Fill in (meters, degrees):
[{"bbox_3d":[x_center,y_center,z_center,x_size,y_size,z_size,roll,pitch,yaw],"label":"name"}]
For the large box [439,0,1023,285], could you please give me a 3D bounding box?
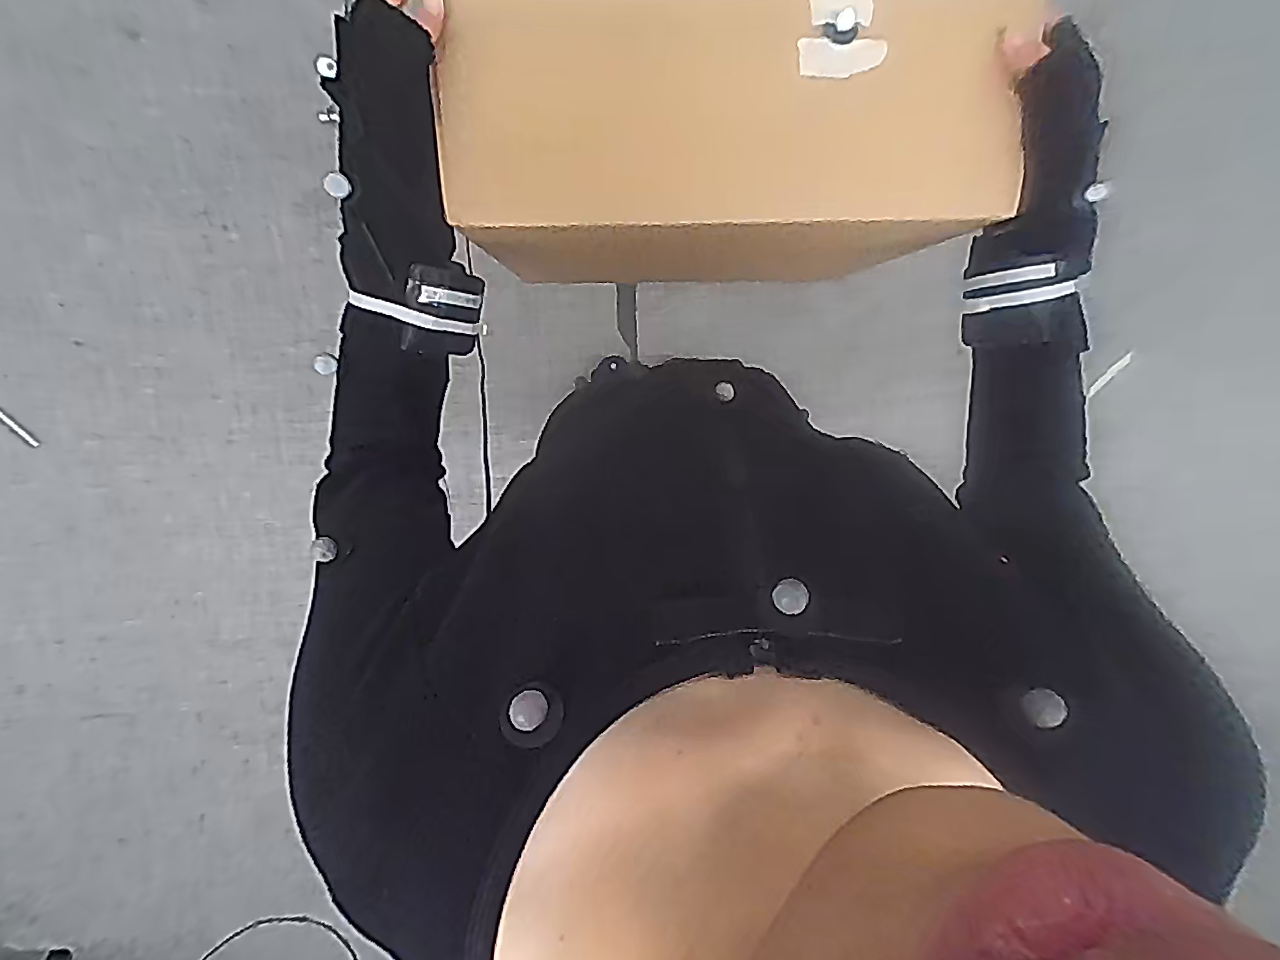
[{"bbox_3d":[0.055,-0.372,0.505,0.408,0.320,0.320,-2,102,-2],"label":"large box"}]
